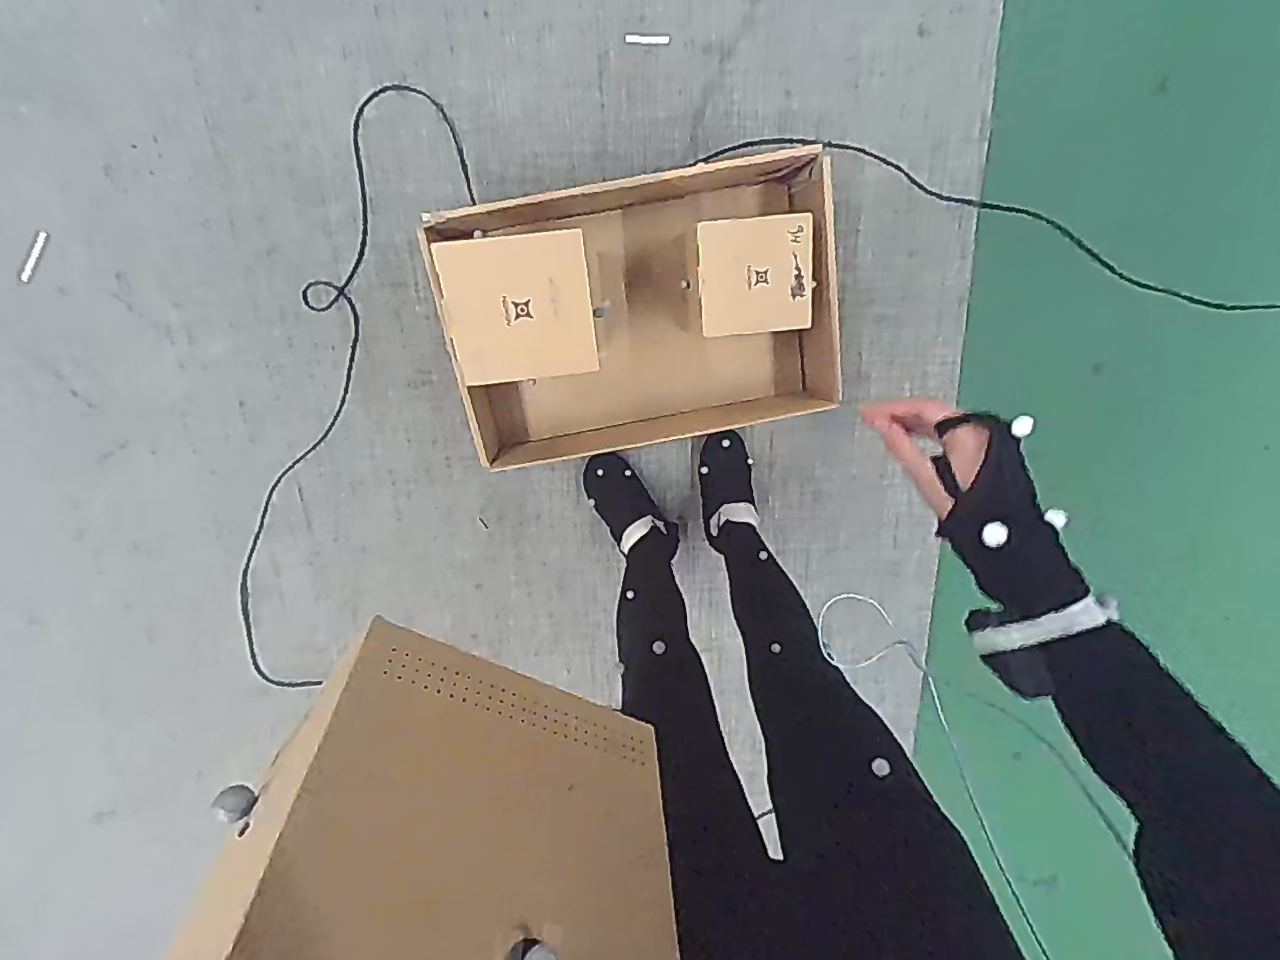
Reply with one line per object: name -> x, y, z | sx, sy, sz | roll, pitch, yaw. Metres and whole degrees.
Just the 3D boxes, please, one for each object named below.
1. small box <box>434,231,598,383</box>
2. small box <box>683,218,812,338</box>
small box -> -0.150, -0.227, 0.717 | 0.179, 0.176, 0.168 | -7, 109, -4
small box -> 0.166, -0.323, 0.887 | 0.179, 0.176, 0.168 | -5, 108, -3
